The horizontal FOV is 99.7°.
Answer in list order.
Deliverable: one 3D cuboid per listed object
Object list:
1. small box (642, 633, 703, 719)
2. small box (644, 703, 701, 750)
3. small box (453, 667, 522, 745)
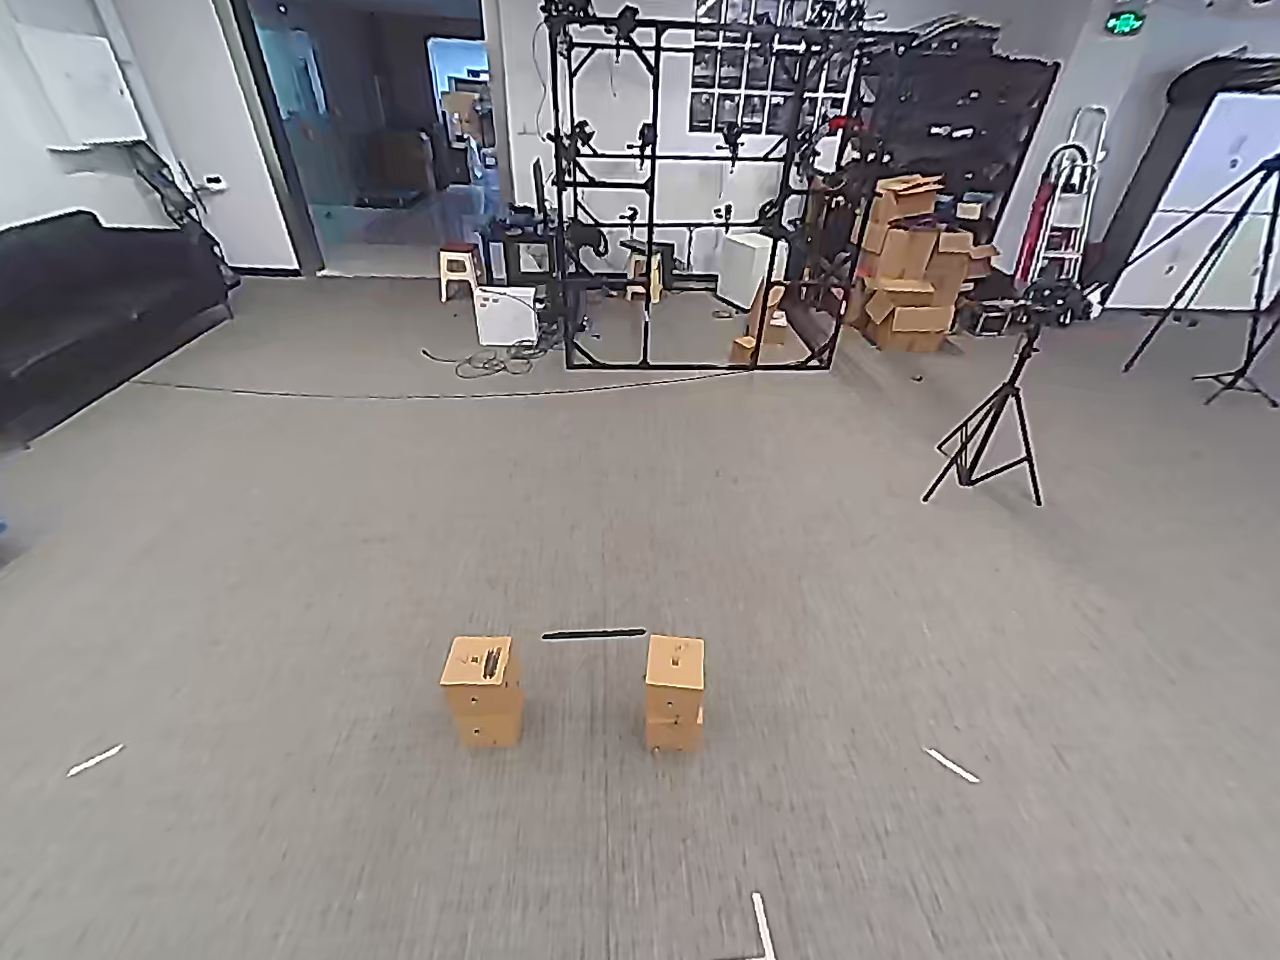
[{"bbox_3d":[0.098,0.592,1.627,0.168,0.176,0.179,6,35,3],"label":"small box"},{"bbox_3d":[0.099,0.733,1.713,0.168,0.176,0.179,2,35,-1],"label":"small box"},{"bbox_3d":[-0.474,0.716,1.708,0.168,0.176,0.179,0,35,-2],"label":"small box"}]
